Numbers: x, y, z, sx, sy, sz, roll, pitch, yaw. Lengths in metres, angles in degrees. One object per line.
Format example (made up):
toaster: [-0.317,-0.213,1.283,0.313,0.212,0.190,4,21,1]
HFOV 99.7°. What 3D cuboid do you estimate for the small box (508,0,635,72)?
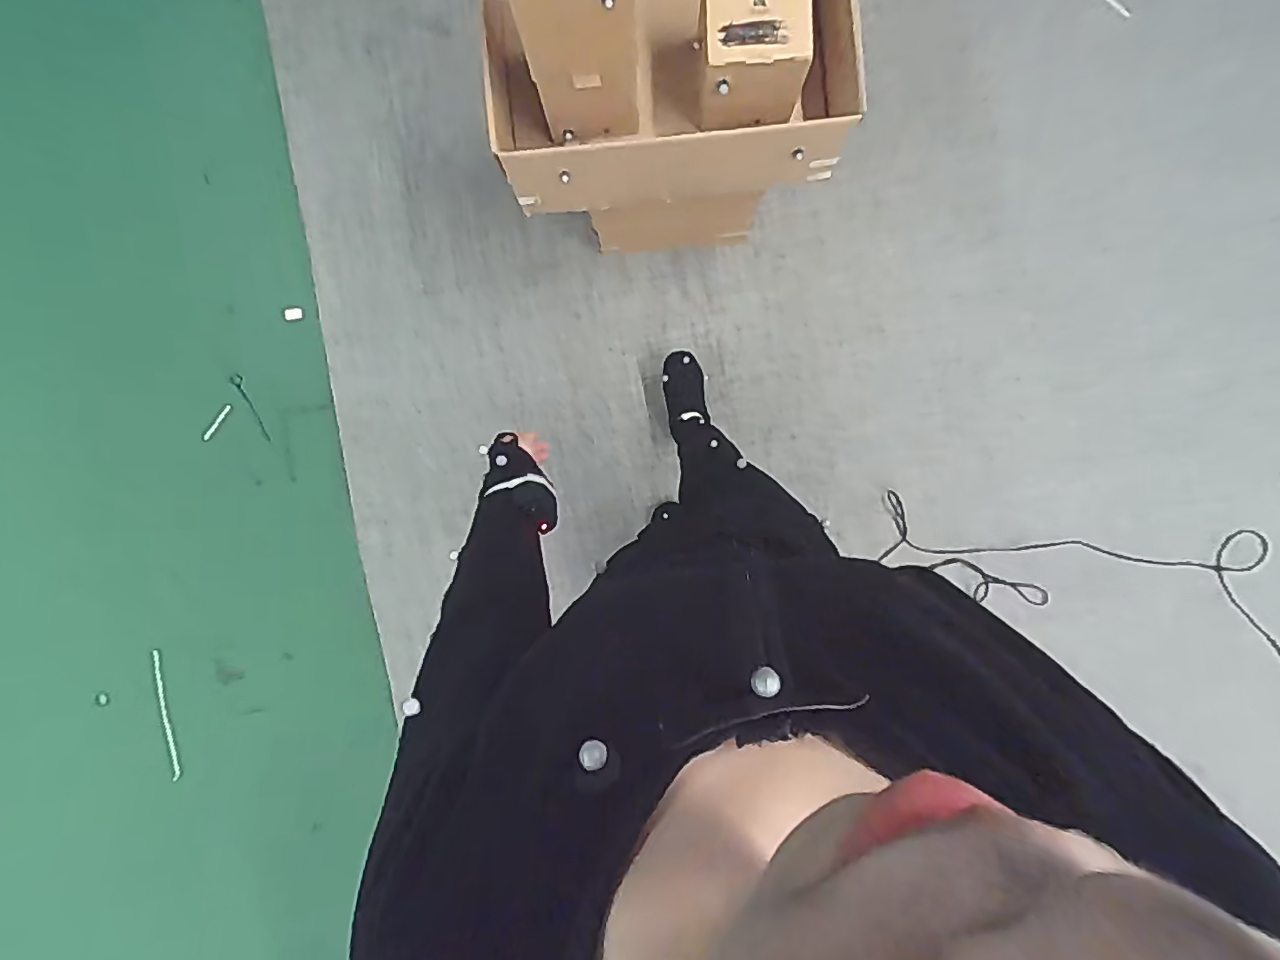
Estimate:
small box: [-0.101,-0.721,0.767,0.179,0.176,0.168,-6,91,0]
